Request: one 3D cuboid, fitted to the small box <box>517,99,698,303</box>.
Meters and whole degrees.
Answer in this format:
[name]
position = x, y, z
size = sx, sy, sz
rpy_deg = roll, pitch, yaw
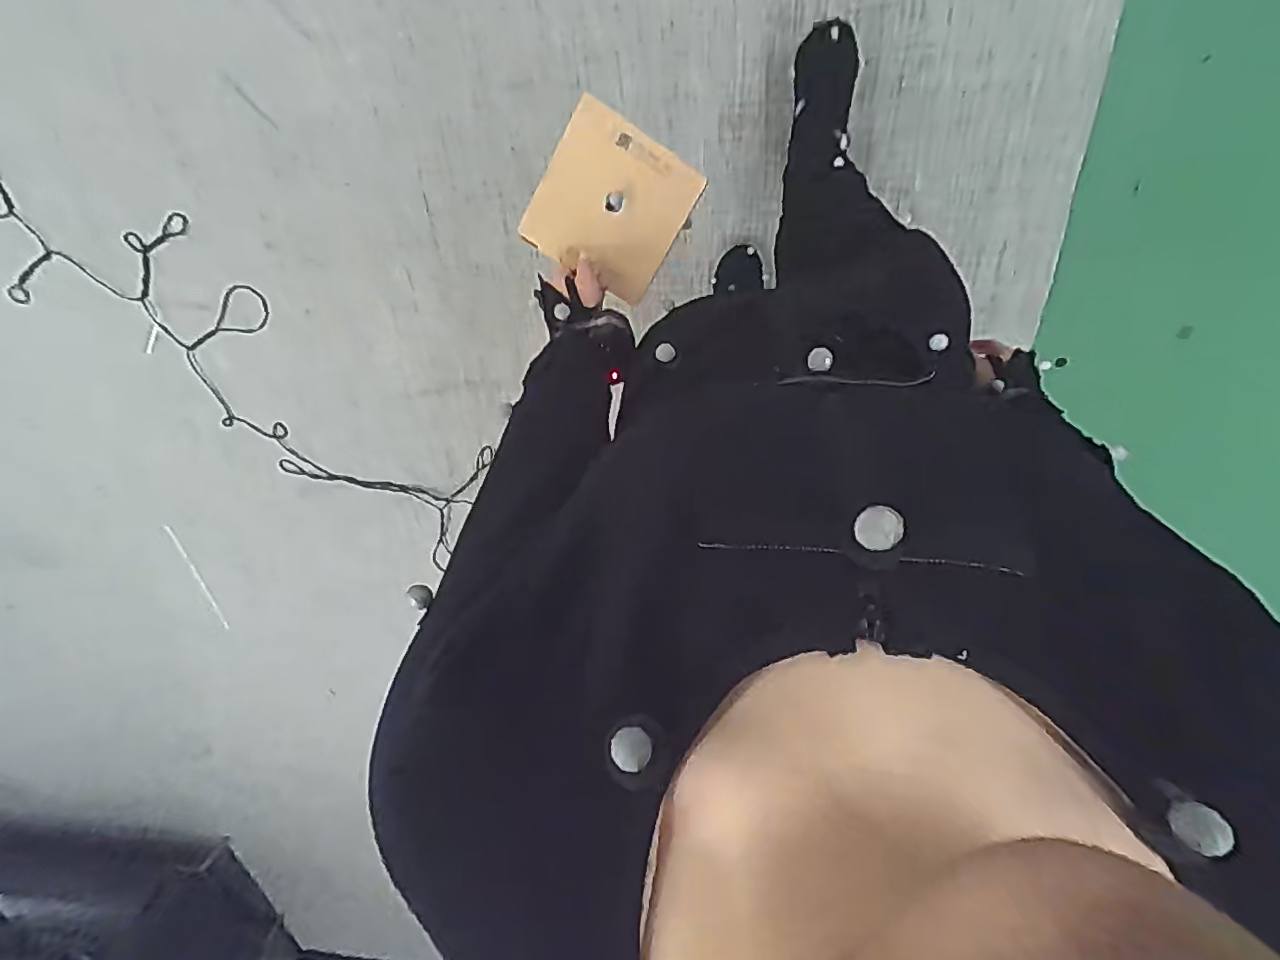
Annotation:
[small box]
position = -0.043, -0.349, 0.704
size = 0.168, 0.179, 0.176
rpy_deg = 27, 104, -14
